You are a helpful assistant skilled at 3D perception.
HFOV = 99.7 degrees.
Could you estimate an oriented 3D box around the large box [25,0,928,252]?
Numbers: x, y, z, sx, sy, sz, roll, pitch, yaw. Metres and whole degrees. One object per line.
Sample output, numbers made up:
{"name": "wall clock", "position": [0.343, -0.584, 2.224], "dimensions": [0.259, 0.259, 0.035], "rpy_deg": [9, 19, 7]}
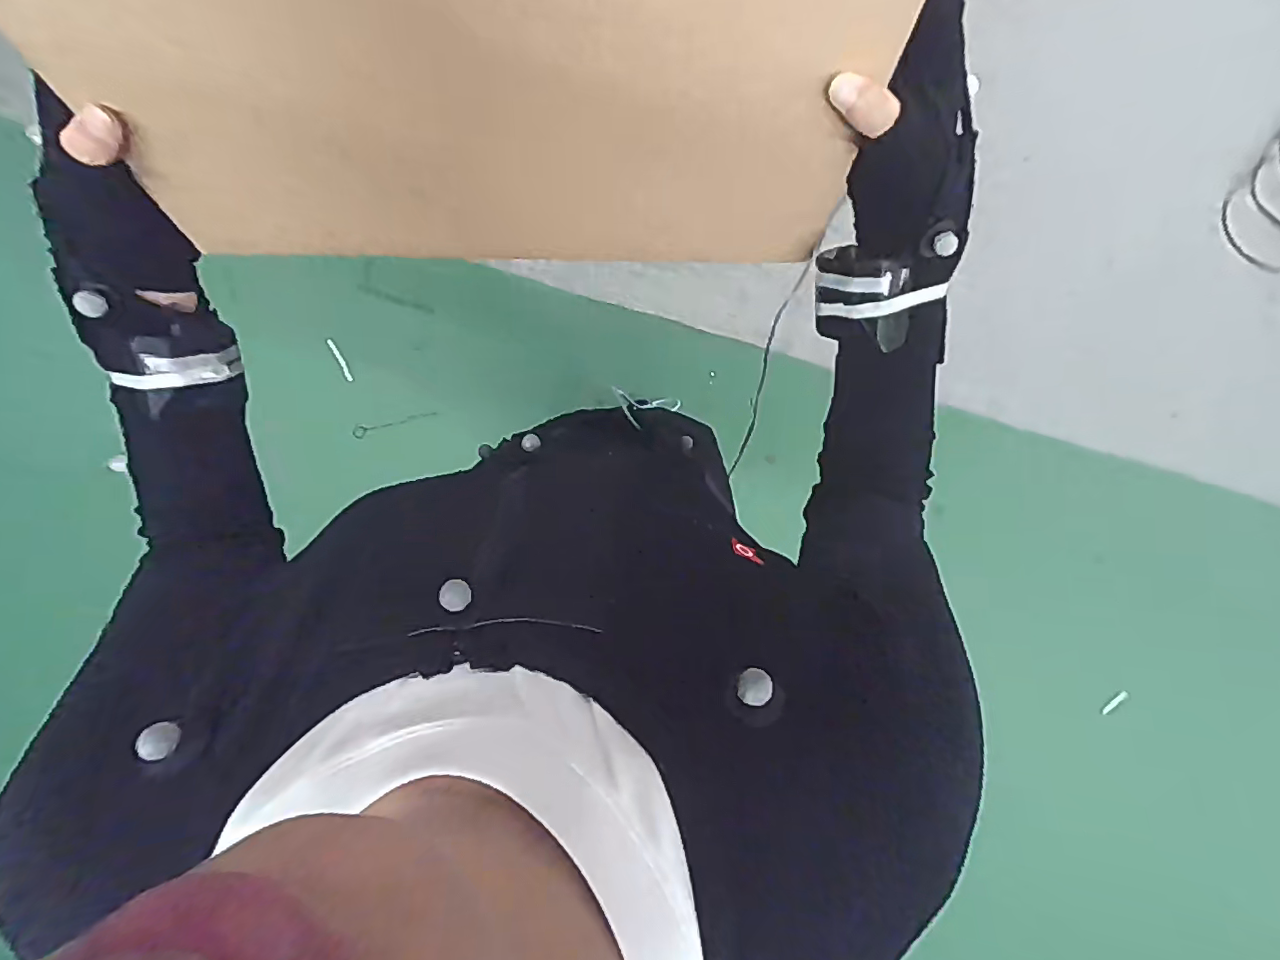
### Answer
{"name": "large box", "position": [-0.072, -0.350, 0.283], "dimensions": [0.408, 0.320, 0.320], "rpy_deg": [1, 68, -5]}
